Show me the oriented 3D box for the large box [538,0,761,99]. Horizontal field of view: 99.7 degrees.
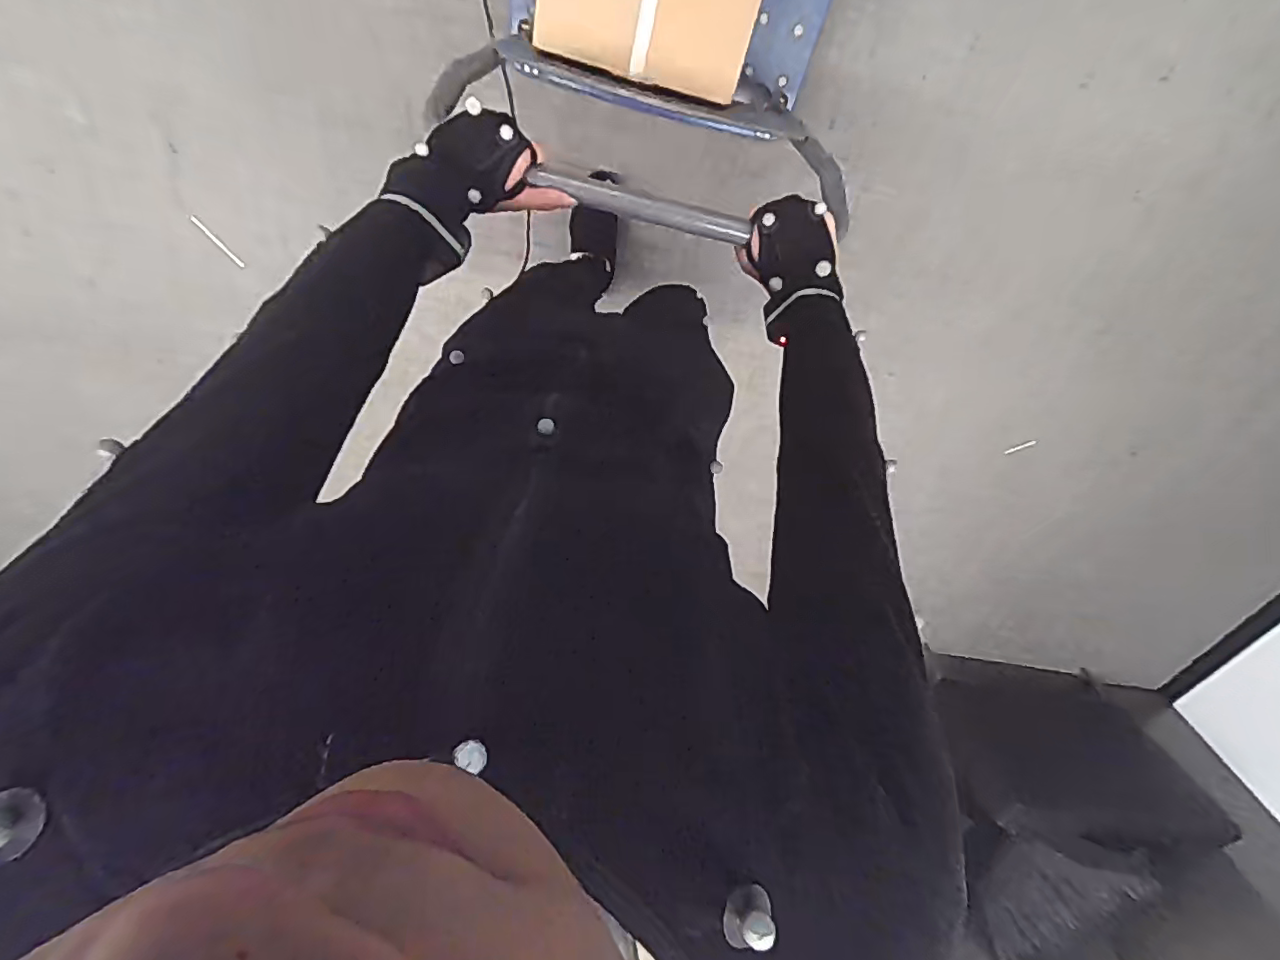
[{"bbox_3d":[0.043,-0.862,0.824,0.320,0.320,0.408,11,127,-8],"label":"large box"}]
